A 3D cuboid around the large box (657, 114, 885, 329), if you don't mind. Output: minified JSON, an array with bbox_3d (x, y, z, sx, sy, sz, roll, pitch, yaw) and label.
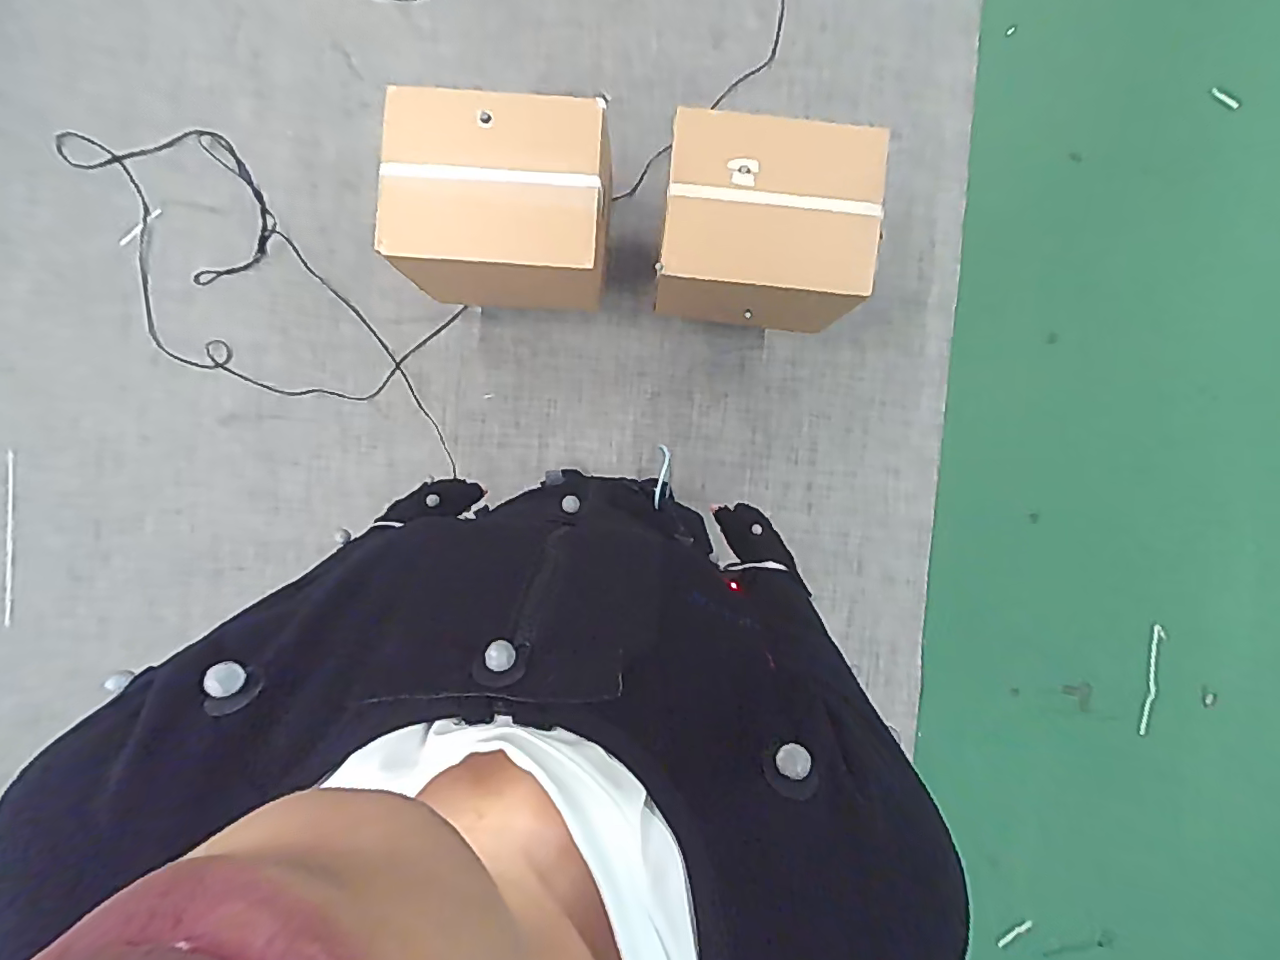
[{"bbox_3d":[0.255,-0.529,1.174,0.408,0.320,0.320,6,92,0],"label":"large box"}]
